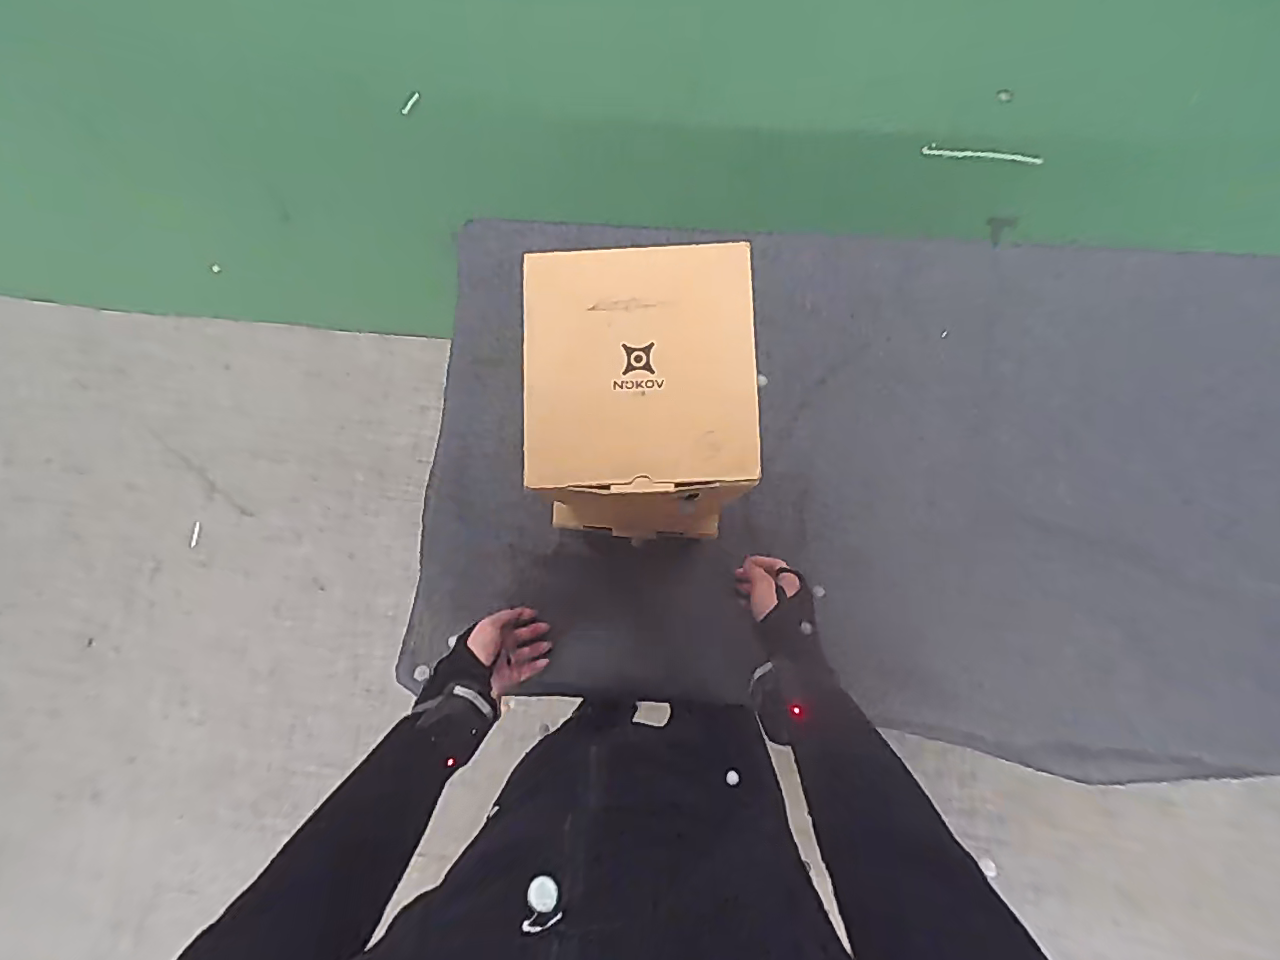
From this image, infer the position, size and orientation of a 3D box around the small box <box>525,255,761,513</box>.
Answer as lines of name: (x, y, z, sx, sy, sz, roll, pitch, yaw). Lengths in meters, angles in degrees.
small box: (0.004, -0.063, 0.460, 0.168, 0.176, 0.179, -3, 82, 2)

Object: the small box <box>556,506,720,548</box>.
small box: (0.007, -0.017, 0.619, 0.168, 0.176, 0.179, 3, 84, 3)
